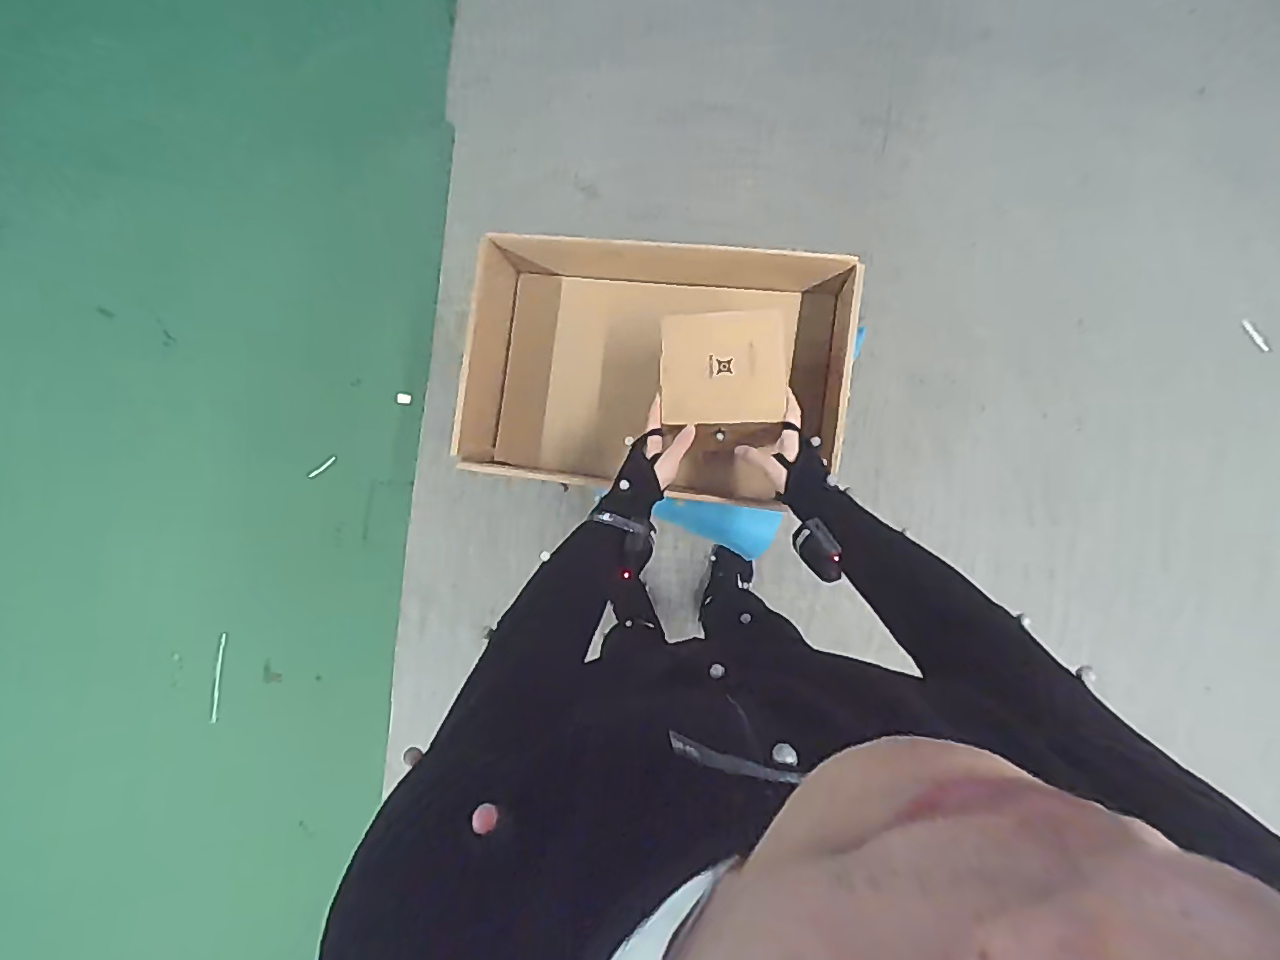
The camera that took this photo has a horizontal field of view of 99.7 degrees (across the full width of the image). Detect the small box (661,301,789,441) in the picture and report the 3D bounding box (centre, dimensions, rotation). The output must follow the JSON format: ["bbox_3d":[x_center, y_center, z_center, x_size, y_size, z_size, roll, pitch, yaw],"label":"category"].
[{"bbox_3d":[0.132,-0.155,0.828,0.179,0.176,0.168,0,82,10],"label":"small box"}]
